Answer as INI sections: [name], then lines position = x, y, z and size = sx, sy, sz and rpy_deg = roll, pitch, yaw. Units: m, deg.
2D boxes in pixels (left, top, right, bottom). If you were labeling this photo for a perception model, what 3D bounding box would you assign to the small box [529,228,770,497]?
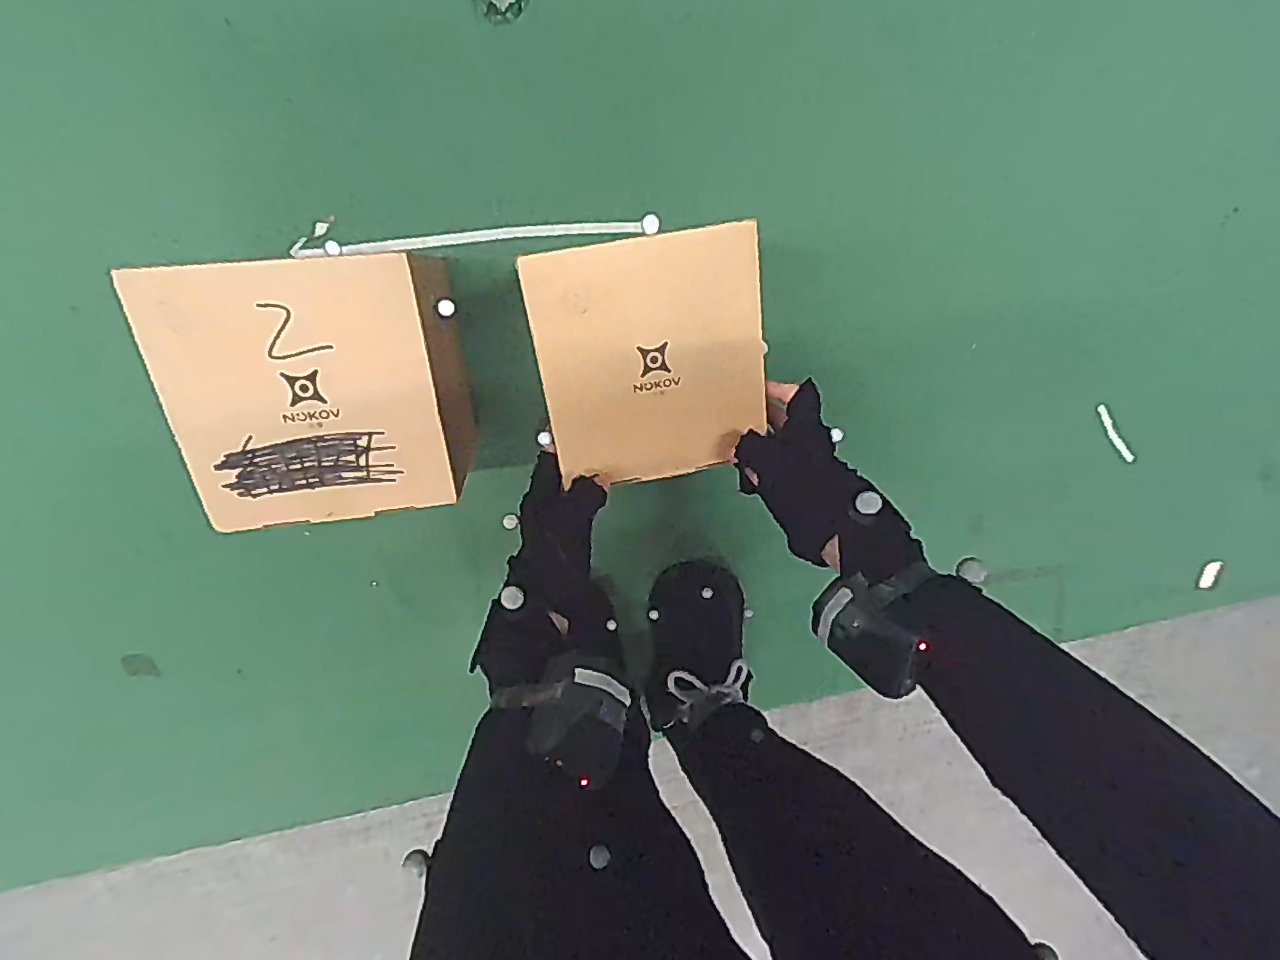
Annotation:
[small box]
position = 0.001, -0.109, 0.467
size = 0.168, 0.176, 0.179
rpy_deg = -11, 114, -5
